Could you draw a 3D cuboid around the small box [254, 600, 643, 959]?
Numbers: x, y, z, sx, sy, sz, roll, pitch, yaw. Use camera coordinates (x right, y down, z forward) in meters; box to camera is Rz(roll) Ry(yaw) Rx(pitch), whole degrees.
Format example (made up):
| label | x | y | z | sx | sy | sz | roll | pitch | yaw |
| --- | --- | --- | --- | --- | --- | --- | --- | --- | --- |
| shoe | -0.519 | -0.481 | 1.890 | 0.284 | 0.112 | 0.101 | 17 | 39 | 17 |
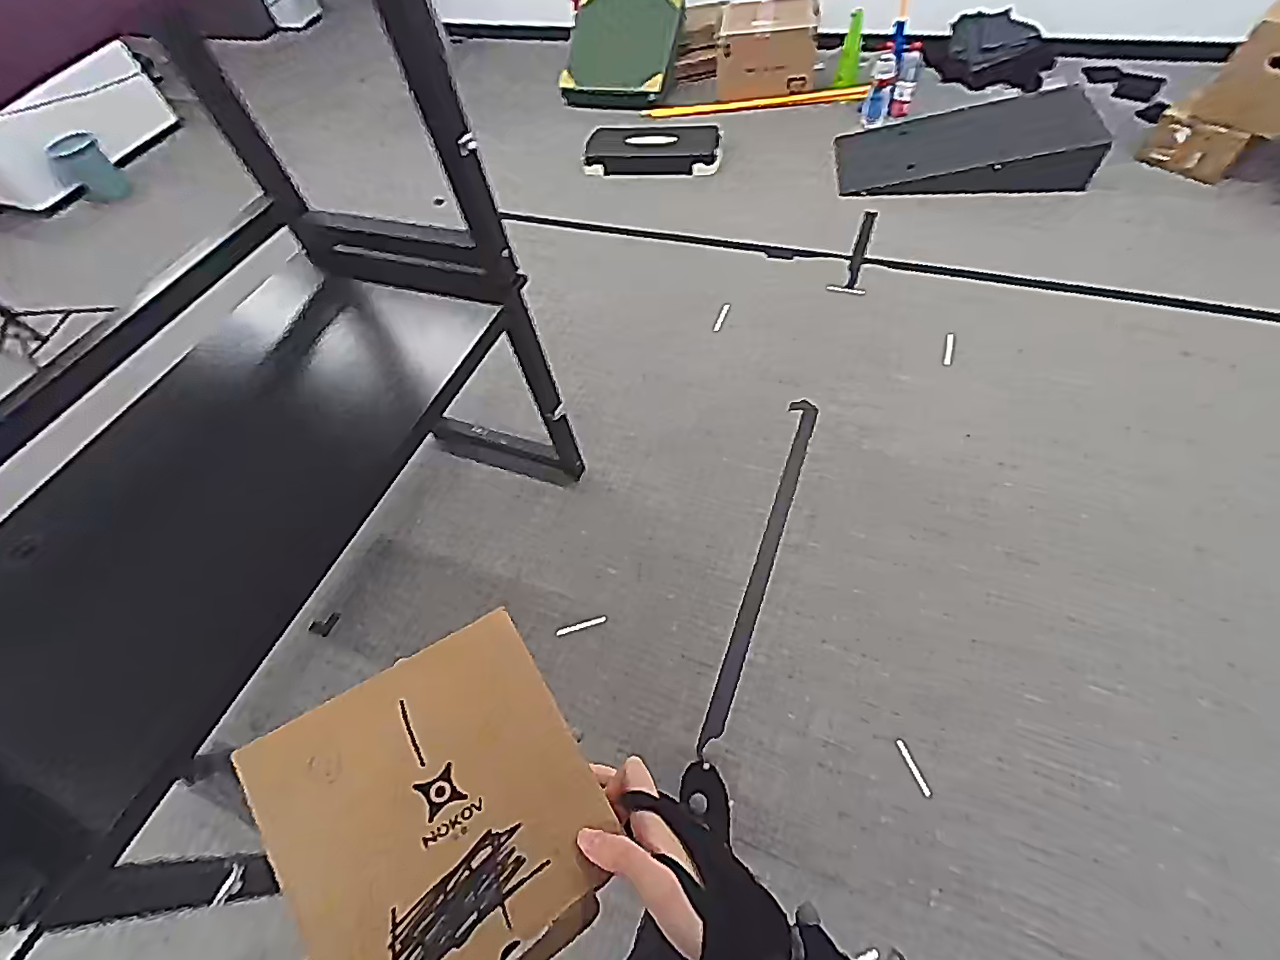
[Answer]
| label | x | y | z | sx | sy | sz | roll | pitch | yaw |
| --- | --- | --- | --- | --- | --- | --- | --- | --- | --- |
| small box | -0.126 | 0.212 | 0.381 | 0.168 | 0.176 | 0.179 | -24 | 75 | -27 |
